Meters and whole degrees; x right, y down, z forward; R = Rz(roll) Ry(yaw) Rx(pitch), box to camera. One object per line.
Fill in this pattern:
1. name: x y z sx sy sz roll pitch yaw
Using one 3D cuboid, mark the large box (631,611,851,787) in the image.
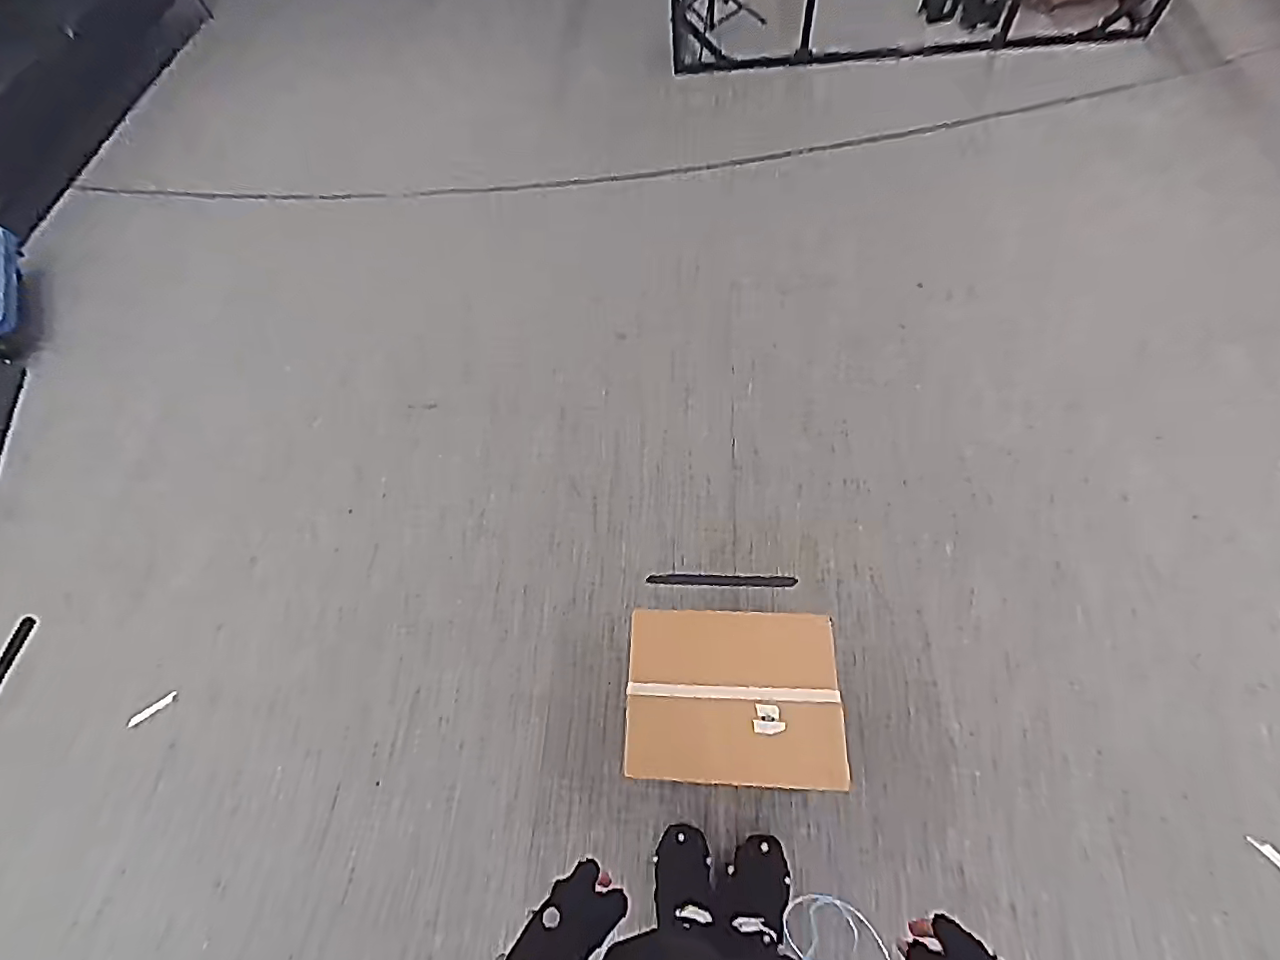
1. large box: 0.198 0.480 1.179 0.408 0.320 0.320 0 63 6
